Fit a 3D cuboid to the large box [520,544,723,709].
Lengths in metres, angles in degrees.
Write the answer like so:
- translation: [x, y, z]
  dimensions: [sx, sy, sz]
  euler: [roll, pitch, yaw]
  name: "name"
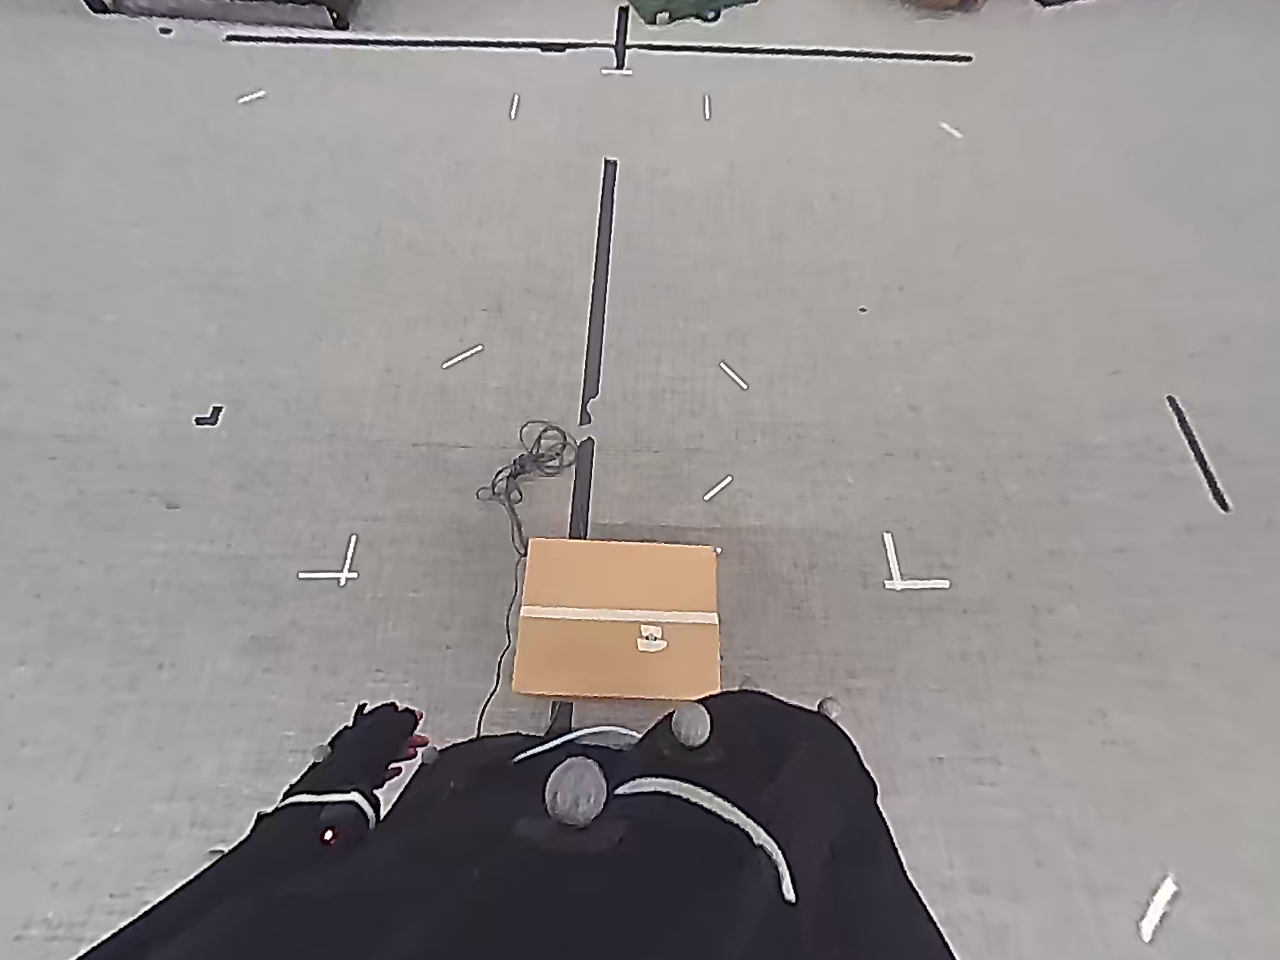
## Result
- translation: [-0.040, 0.350, 1.242]
  dimensions: [0.408, 0.320, 0.320]
  euler: [4, 66, -2]
  name: "large box"
